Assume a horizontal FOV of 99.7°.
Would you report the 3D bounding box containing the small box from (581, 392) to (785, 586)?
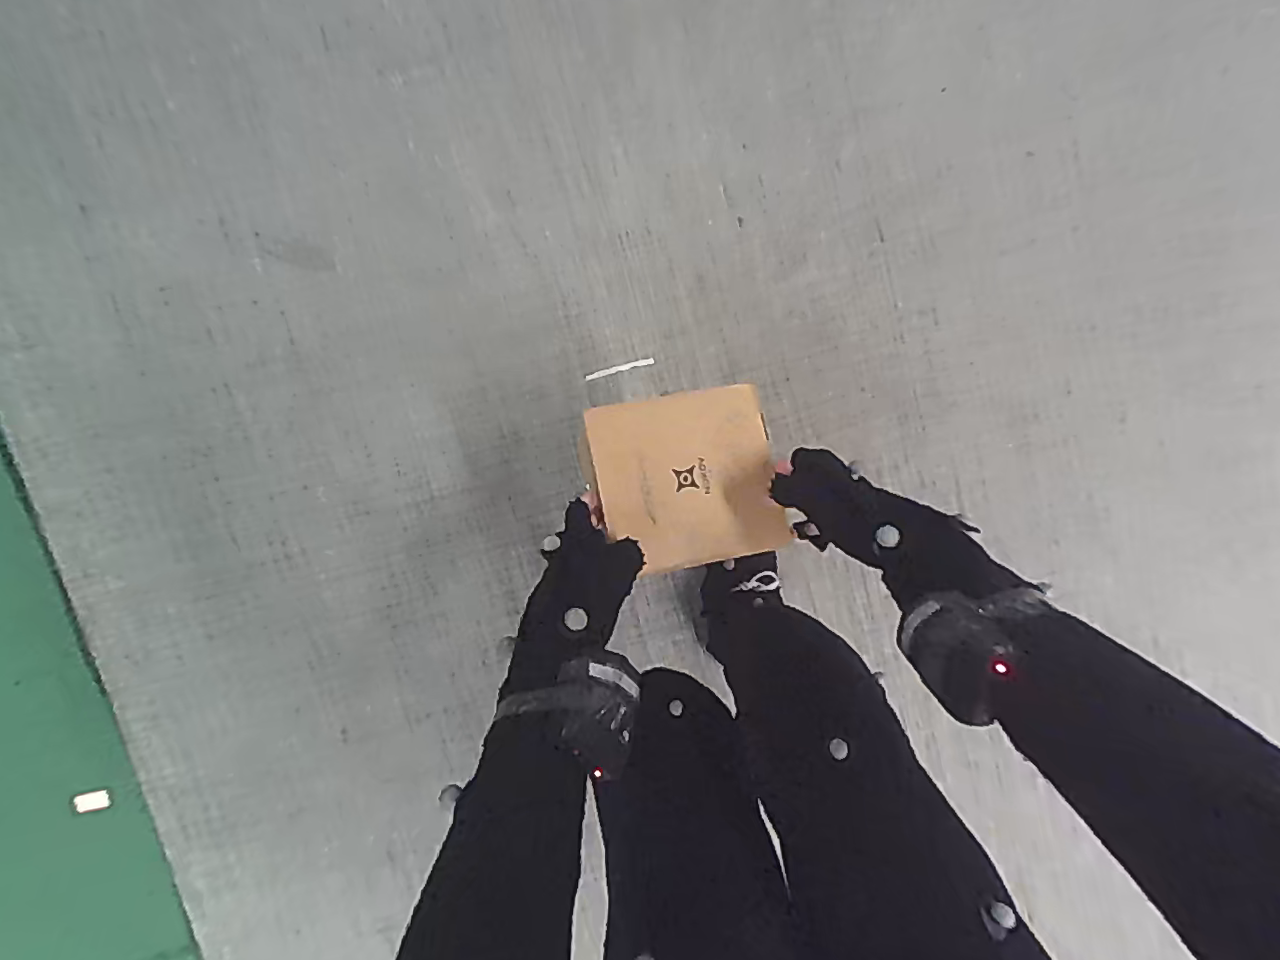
[{"bbox_3d":[0.034,0.016,0.602,0.179,0.176,0.168,-11,83,-8],"label":"small box"}]
